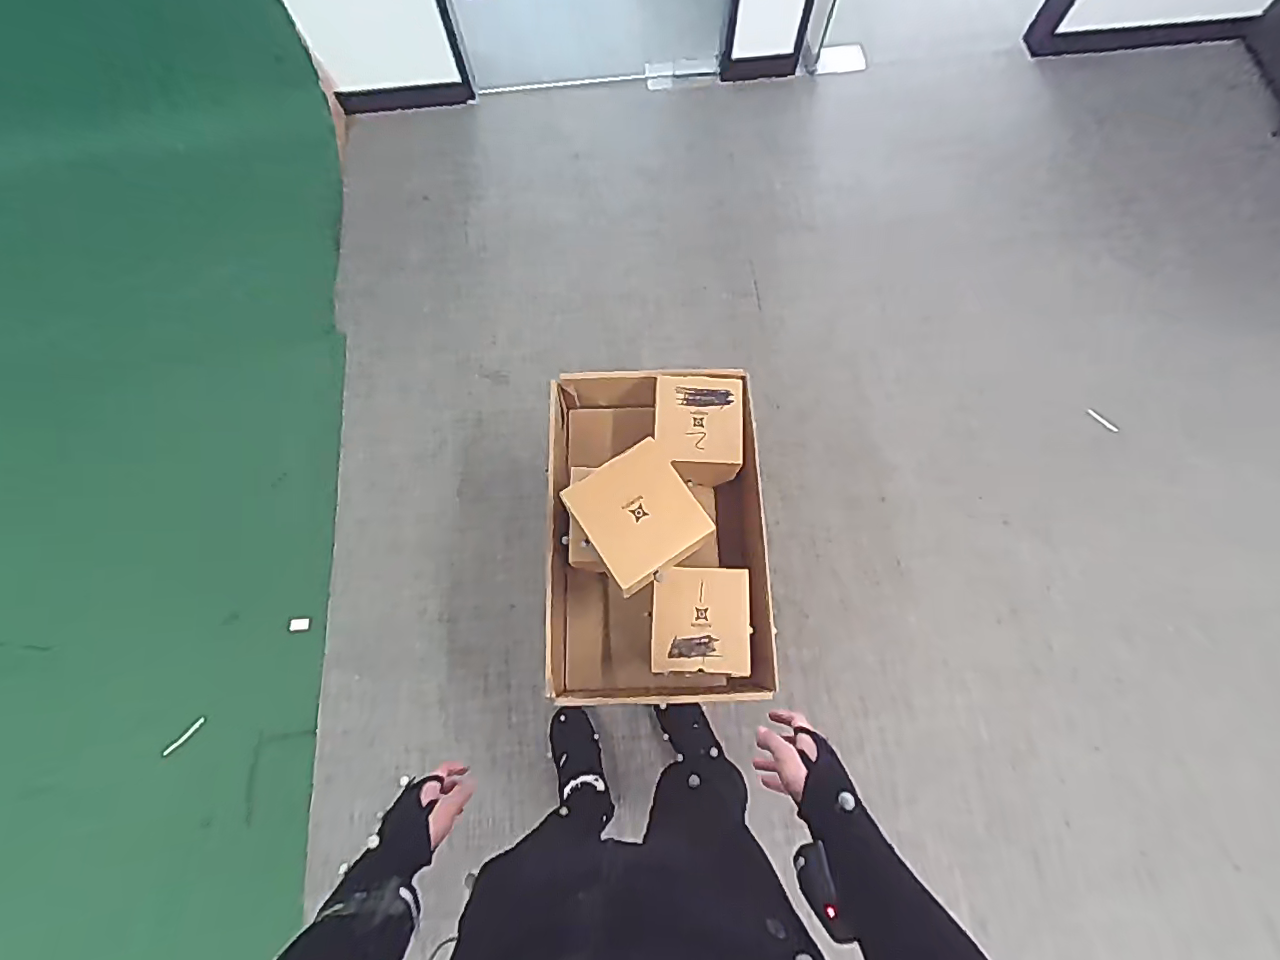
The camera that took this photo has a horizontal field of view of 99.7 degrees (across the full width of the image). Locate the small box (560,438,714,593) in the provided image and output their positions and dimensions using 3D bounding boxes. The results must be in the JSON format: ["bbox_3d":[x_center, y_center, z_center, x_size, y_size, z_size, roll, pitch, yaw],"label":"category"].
[{"bbox_3d":[-0.004,0.067,0.864,0.168,0.176,0.179,-33,76,-9],"label":"small box"}]

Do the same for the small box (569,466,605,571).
[{"bbox_3d":[-0.041,0.080,1.029,0.168,0.176,0.179,-1,74,-1],"label":"small box"}]
